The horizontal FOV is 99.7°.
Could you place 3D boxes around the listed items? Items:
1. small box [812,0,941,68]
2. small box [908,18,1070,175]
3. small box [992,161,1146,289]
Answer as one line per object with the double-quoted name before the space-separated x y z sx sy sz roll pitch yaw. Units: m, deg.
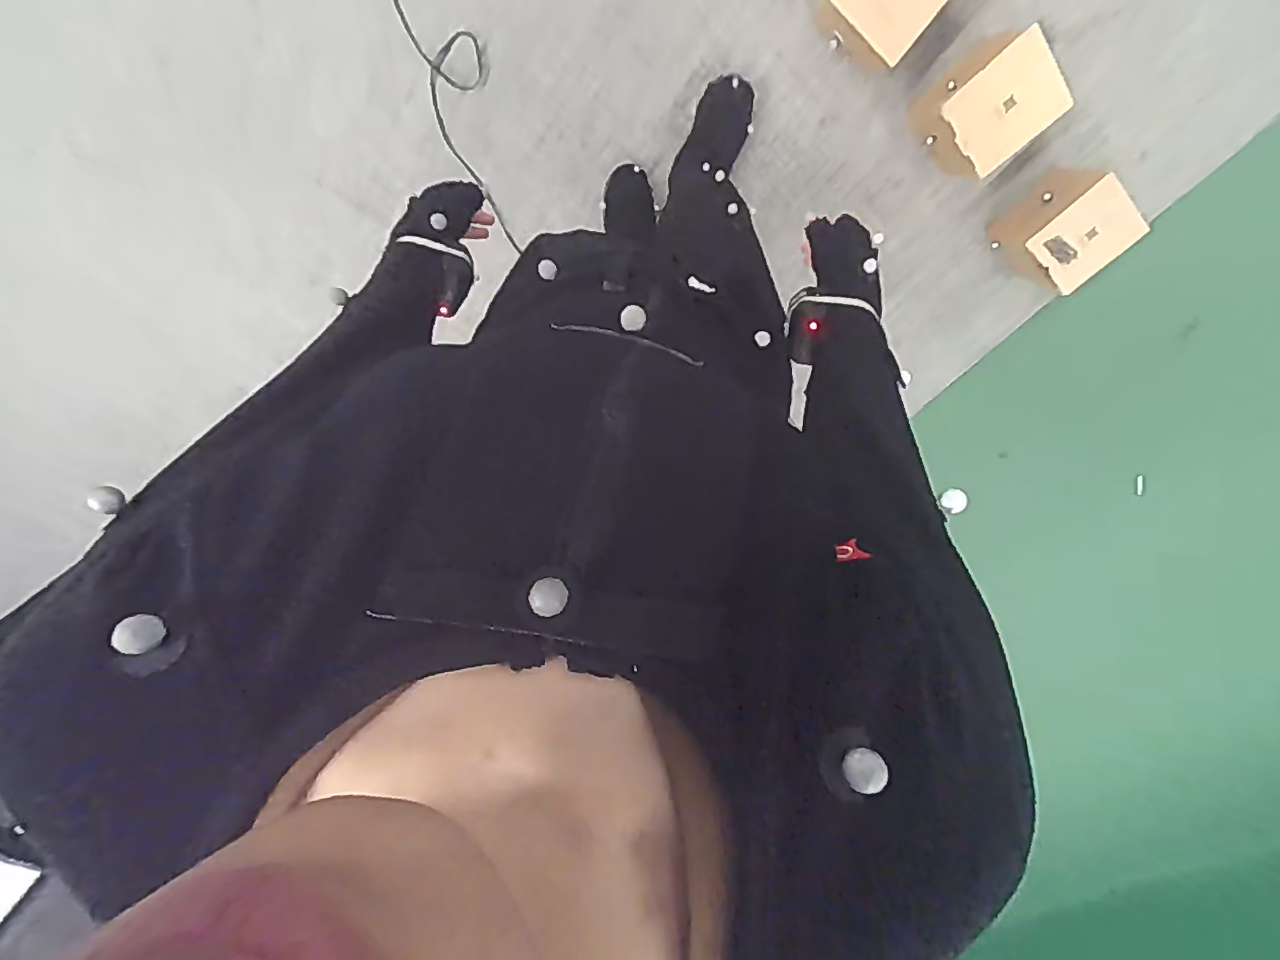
"small box" 0.431 -0.874 0.953 0.168 0.176 0.179 33 121 -16
"small box" 0.660 -0.729 1.041 0.179 0.176 0.168 -39 115 25
"small box" 0.896 -0.546 1.154 0.168 0.176 0.179 36 118 -20
